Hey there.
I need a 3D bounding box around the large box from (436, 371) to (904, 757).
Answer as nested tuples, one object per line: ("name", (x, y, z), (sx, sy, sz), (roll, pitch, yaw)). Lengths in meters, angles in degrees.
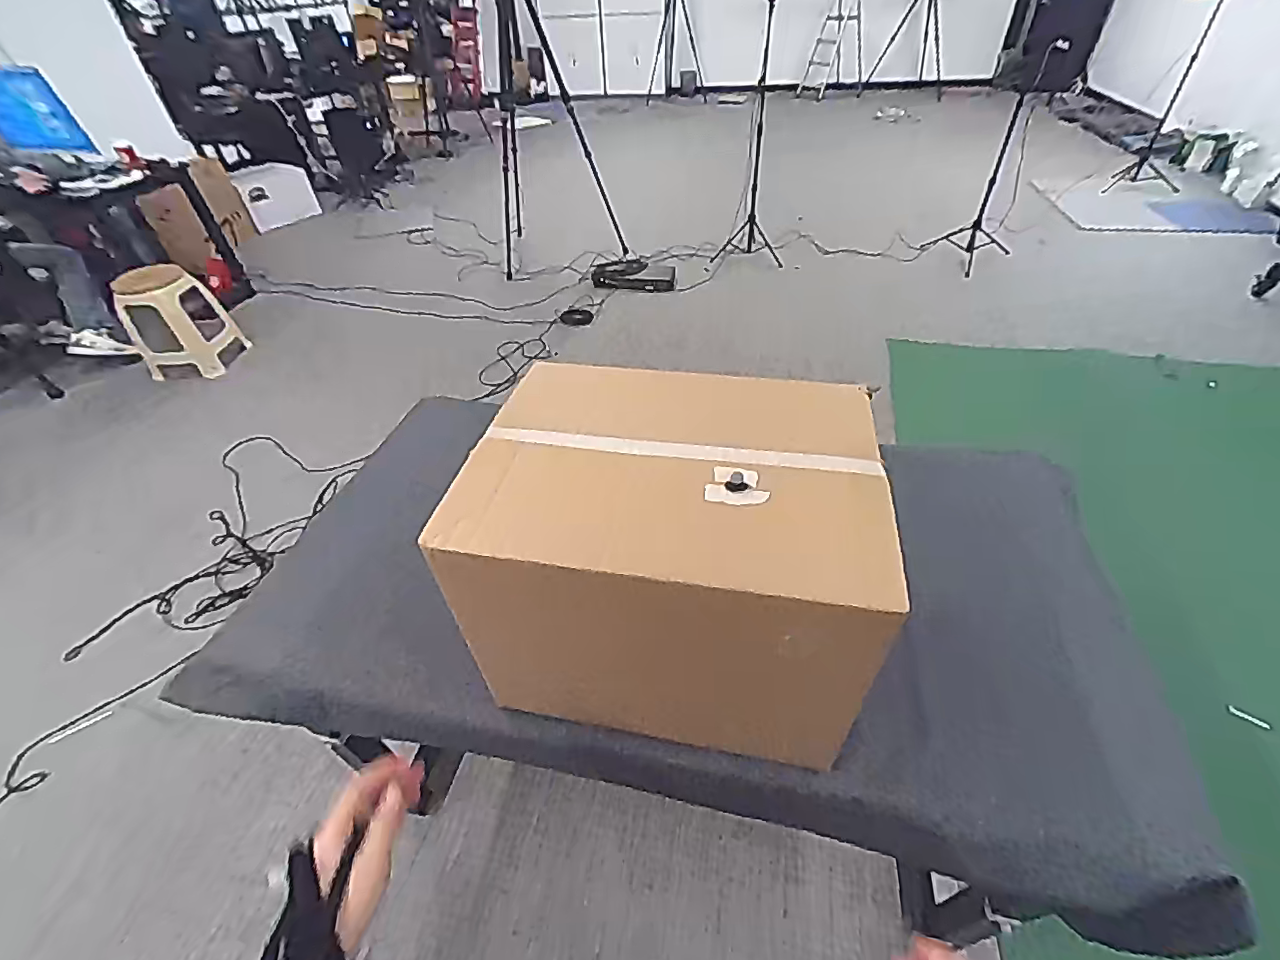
("large box", (0.041, 0.088, 0.653), (0.408, 0.320, 0.320), (6, 43, 10))
